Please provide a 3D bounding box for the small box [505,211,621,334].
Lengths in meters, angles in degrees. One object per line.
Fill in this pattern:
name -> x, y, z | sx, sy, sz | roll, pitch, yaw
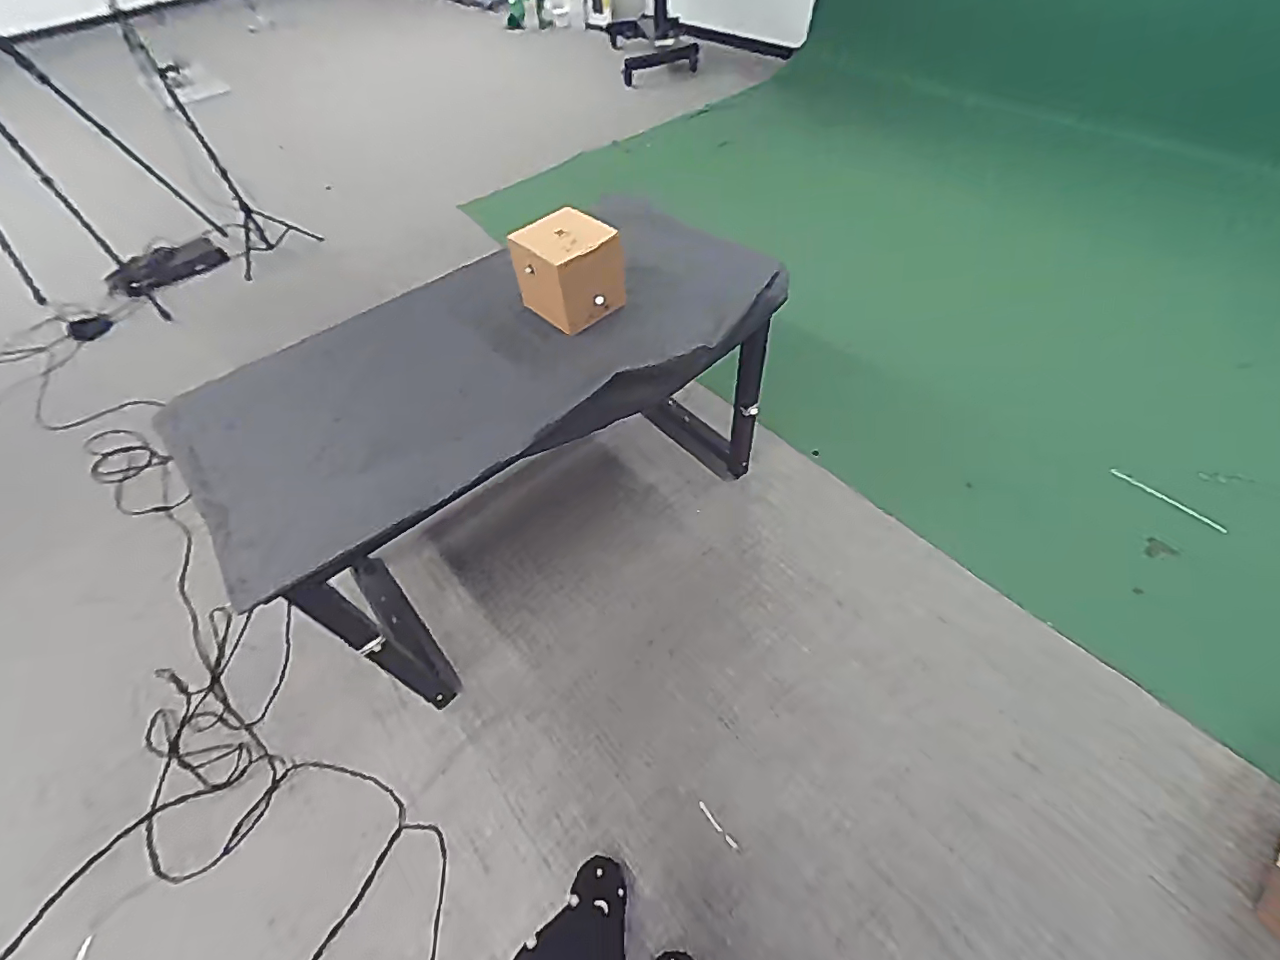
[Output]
small box -> -0.160, -0.446, 1.170 | 0.168, 0.176, 0.179 | -38, 59, -22
